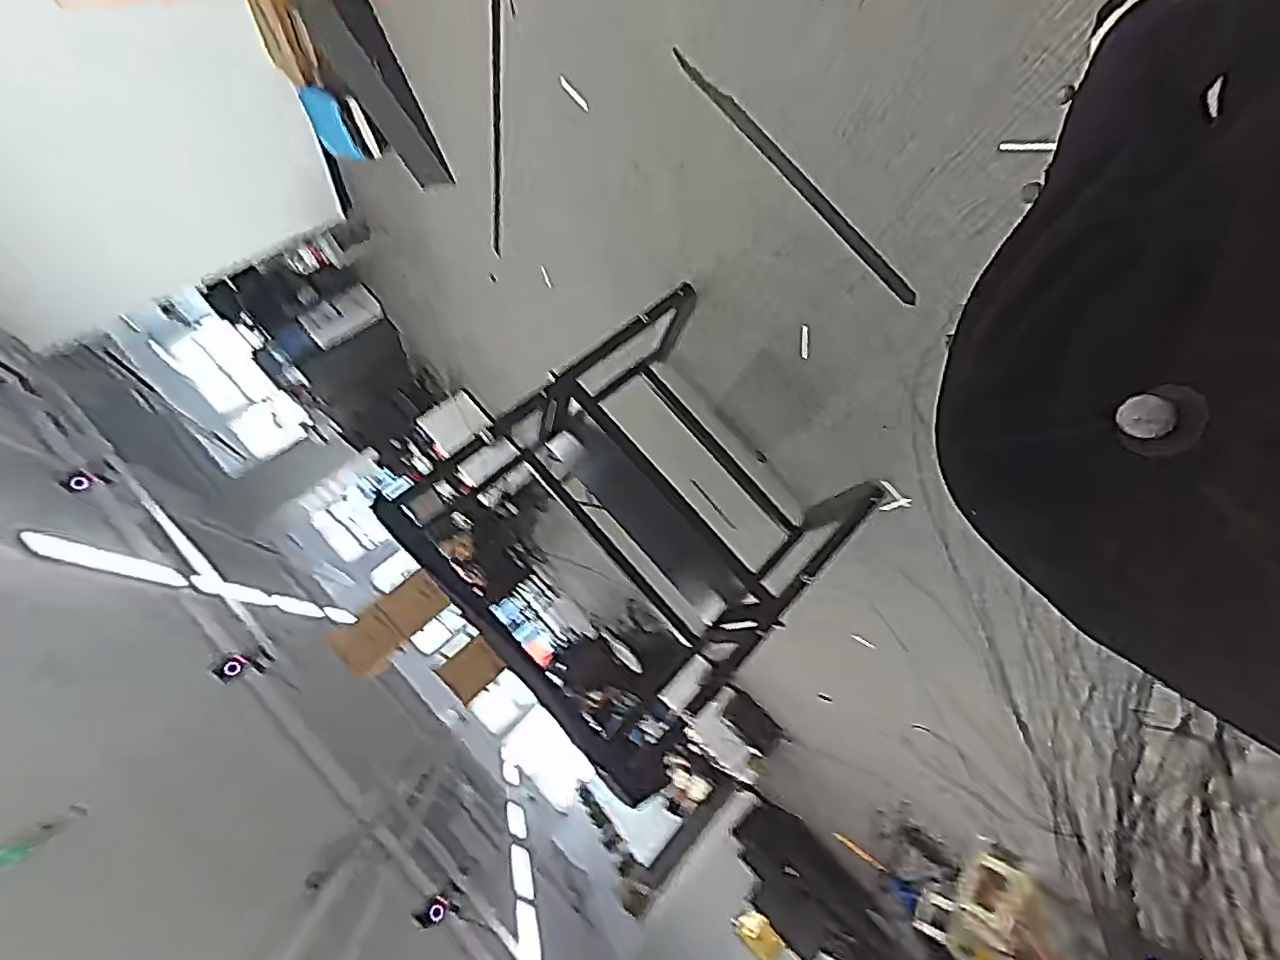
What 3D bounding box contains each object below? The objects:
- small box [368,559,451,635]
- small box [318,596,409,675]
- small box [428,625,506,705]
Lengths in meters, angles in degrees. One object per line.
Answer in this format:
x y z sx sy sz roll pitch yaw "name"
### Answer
-0.721 0.371 1.715 0.168 0.176 0.179 48 159 1 "small box"
-0.837 0.470 1.657 0.168 0.176 0.179 49 158 1 "small box"
-0.537 0.575 1.704 0.168 0.176 0.179 48 160 3 "small box"
